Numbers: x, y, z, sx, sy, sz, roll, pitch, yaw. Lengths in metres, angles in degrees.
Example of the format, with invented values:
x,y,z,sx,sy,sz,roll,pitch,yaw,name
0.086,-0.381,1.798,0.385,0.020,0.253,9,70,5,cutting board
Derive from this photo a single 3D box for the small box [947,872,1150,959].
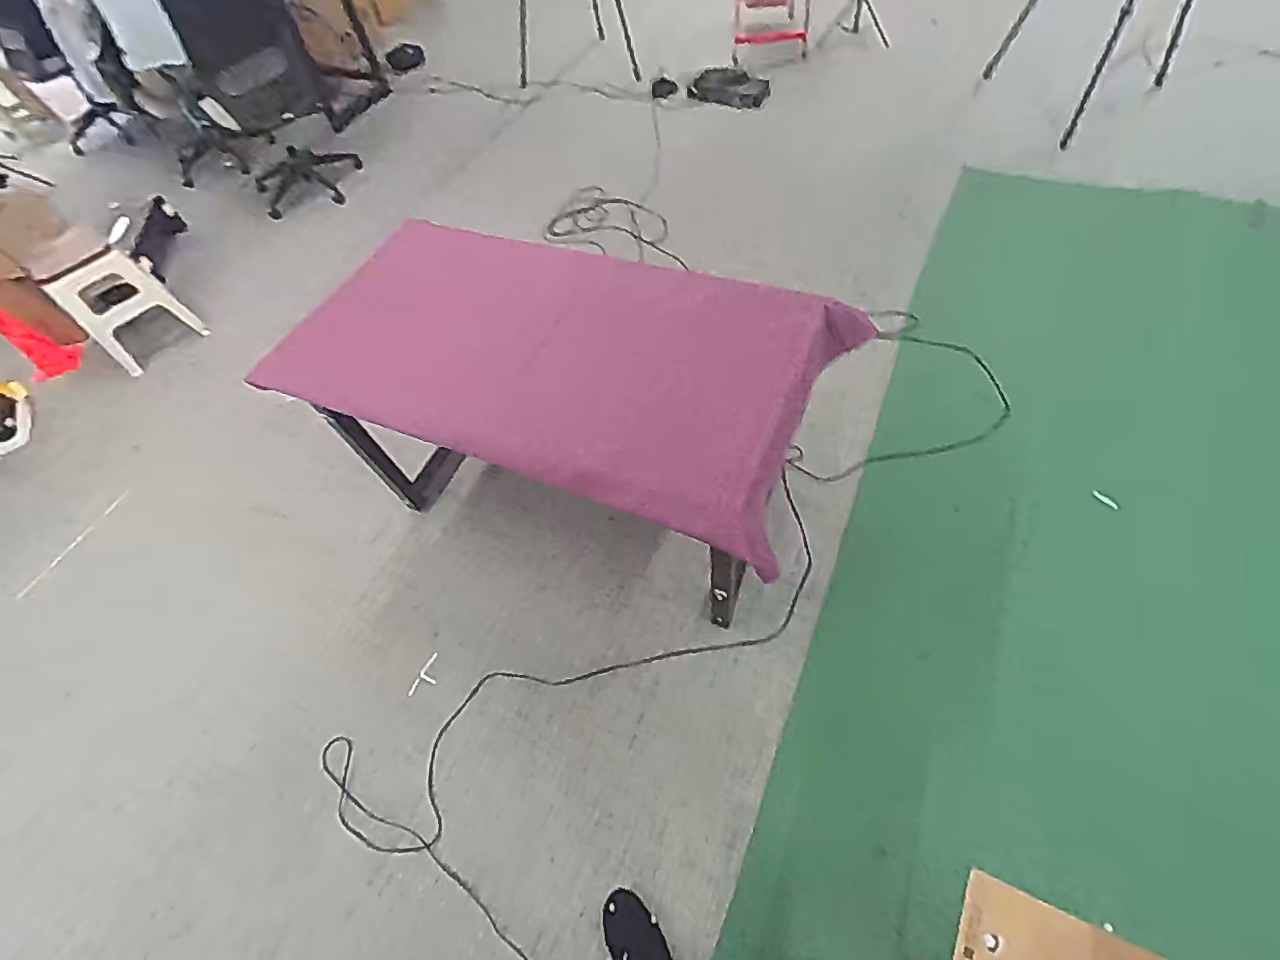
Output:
x,y,z,sx,sy,sz,roll,pitch,yaw,name
0.549,0.665,0.715,0.179,0.176,0.168,33,68,-12,small box
